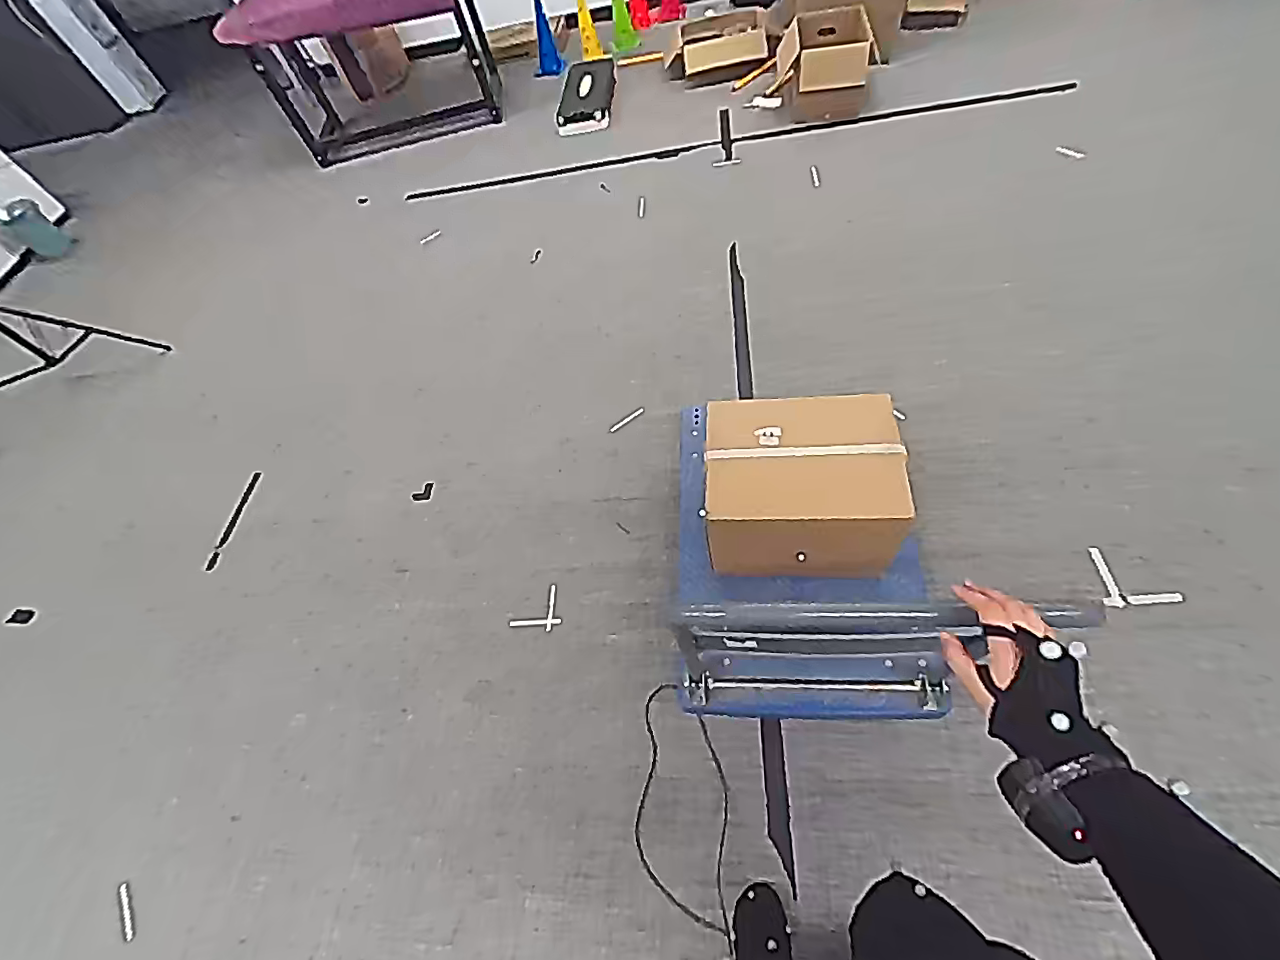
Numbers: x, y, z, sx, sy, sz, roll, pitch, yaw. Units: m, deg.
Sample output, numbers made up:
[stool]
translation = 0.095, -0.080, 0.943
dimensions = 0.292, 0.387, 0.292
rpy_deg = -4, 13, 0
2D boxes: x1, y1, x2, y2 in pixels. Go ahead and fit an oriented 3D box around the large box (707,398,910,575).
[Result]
[large box]
translation = 0.373, 0.031, 1.292
dimensions = 0.408, 0.320, 0.320
rpy_deg = -2, 57, 11
